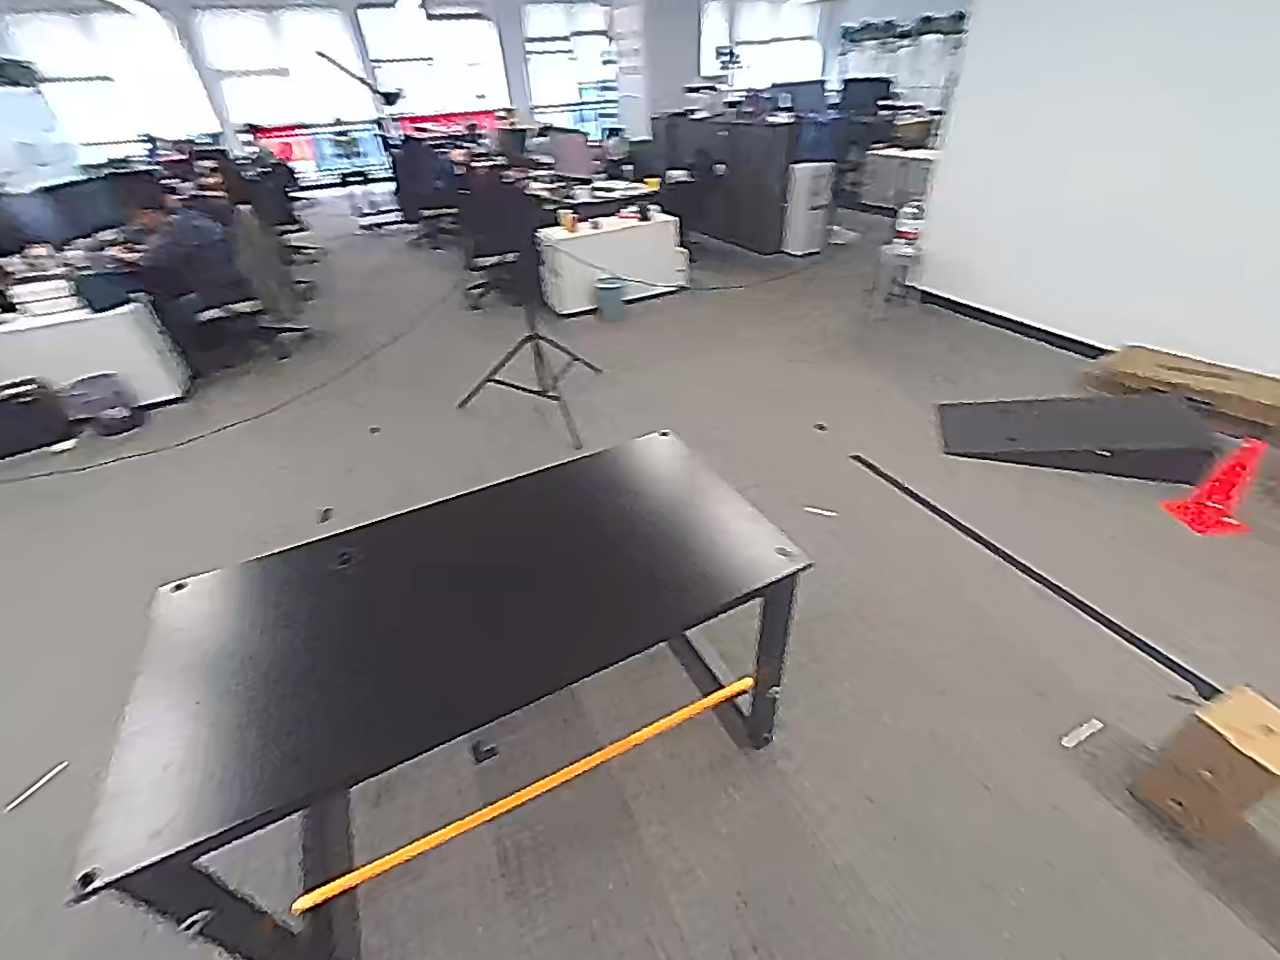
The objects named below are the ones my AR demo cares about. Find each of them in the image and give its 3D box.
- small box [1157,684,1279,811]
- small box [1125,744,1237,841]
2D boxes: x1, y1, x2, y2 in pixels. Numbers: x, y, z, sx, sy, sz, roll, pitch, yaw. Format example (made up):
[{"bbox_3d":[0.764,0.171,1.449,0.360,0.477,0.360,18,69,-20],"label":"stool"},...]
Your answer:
[{"bbox_3d":[1.336,0.601,1.217,0.179,0.176,0.168,-16,38,-15],"label":"small box"},{"bbox_3d":[1.342,0.734,1.317,0.179,0.176,0.168,-20,39,-19],"label":"small box"}]
